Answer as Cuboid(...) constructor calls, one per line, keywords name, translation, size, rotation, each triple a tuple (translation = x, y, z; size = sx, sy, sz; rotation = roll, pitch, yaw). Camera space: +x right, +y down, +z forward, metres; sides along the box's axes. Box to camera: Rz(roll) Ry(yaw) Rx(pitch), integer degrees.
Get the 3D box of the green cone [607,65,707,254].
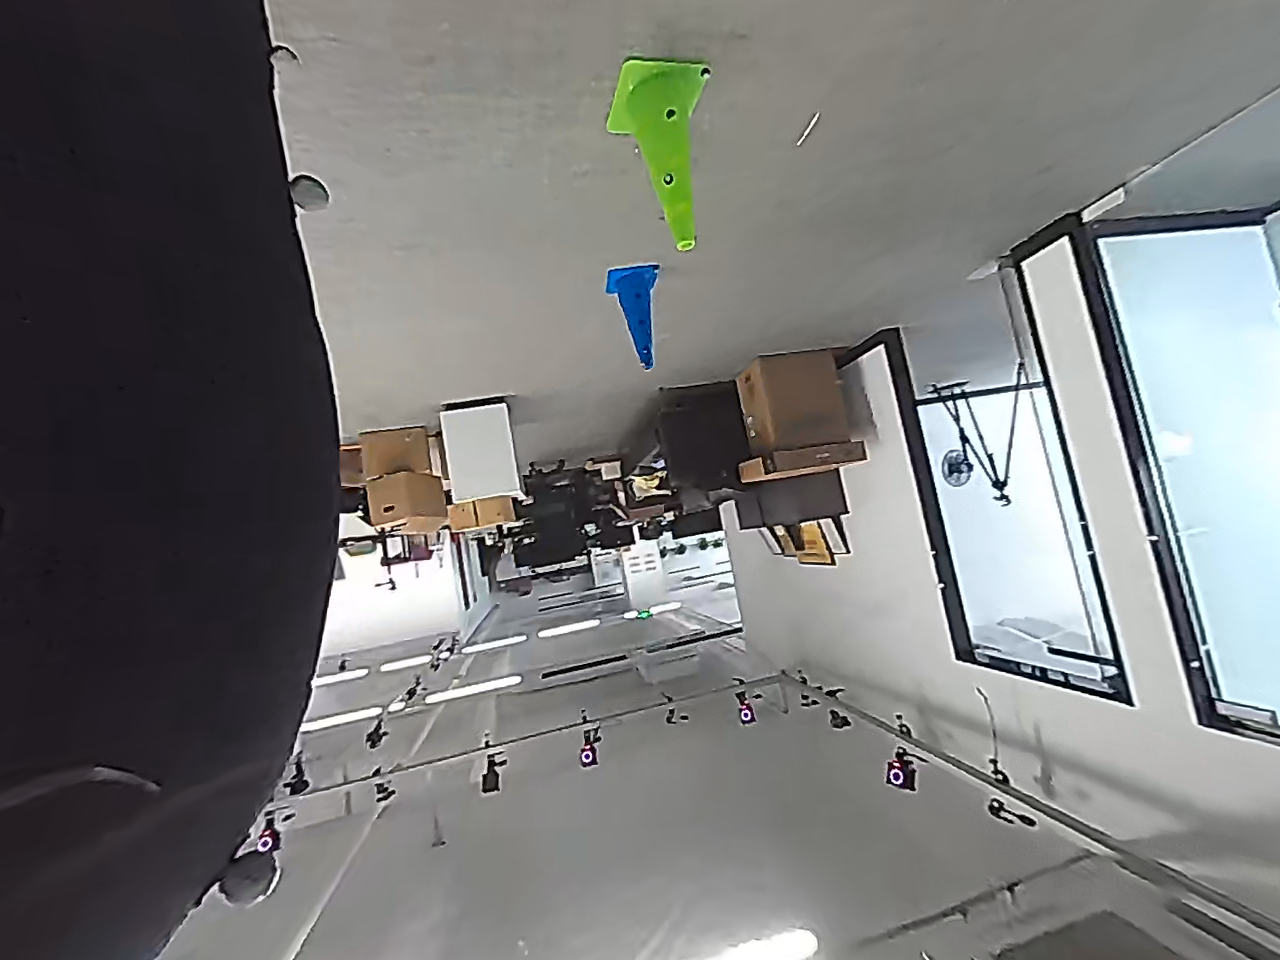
Cuboid(name="green cone", translation=(0.065, -0.691, 1.215), size=(0.200, 0.368, 0.202), rotation=(-9, 175, -15))
